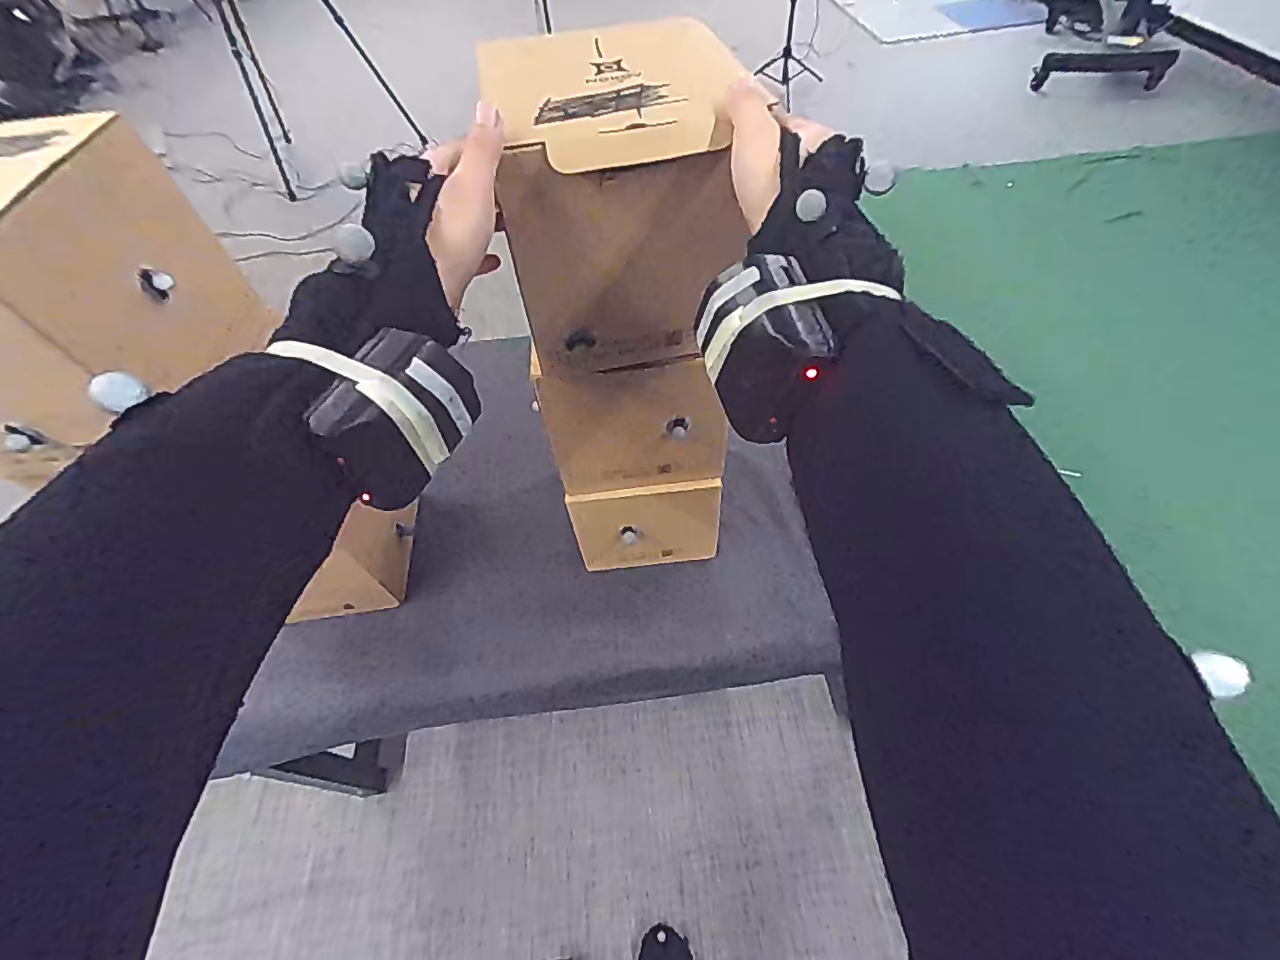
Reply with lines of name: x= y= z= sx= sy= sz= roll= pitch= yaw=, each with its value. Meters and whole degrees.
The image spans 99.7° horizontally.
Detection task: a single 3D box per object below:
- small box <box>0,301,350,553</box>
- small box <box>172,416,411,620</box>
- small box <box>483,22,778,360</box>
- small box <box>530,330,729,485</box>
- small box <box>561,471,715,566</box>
small box: x=-0.409 y=-0.042 z=0.519 sx=0.168 sy=0.176 sz=0.179 roll=-6 pitch=54 yaw=-2
small box: x=-0.396 y=0.048 z=0.657 sx=0.168 sy=0.176 sz=0.179 roll=-7 pitch=53 yaw=-2
small box: x=-0.013 y=-0.206 z=0.406 sx=0.168 sy=0.176 sz=0.179 roll=-10 pitch=54 yaw=-6
small box: x=-0.011 y=-0.108 z=0.547 sx=0.168 sy=0.176 sz=0.179 roll=-6 pitch=52 yaw=-2
small box: x=-0.001 y=-0.005 z=0.672 sx=0.168 sy=0.176 sz=0.179 roll=-6 pitch=53 yaw=0
